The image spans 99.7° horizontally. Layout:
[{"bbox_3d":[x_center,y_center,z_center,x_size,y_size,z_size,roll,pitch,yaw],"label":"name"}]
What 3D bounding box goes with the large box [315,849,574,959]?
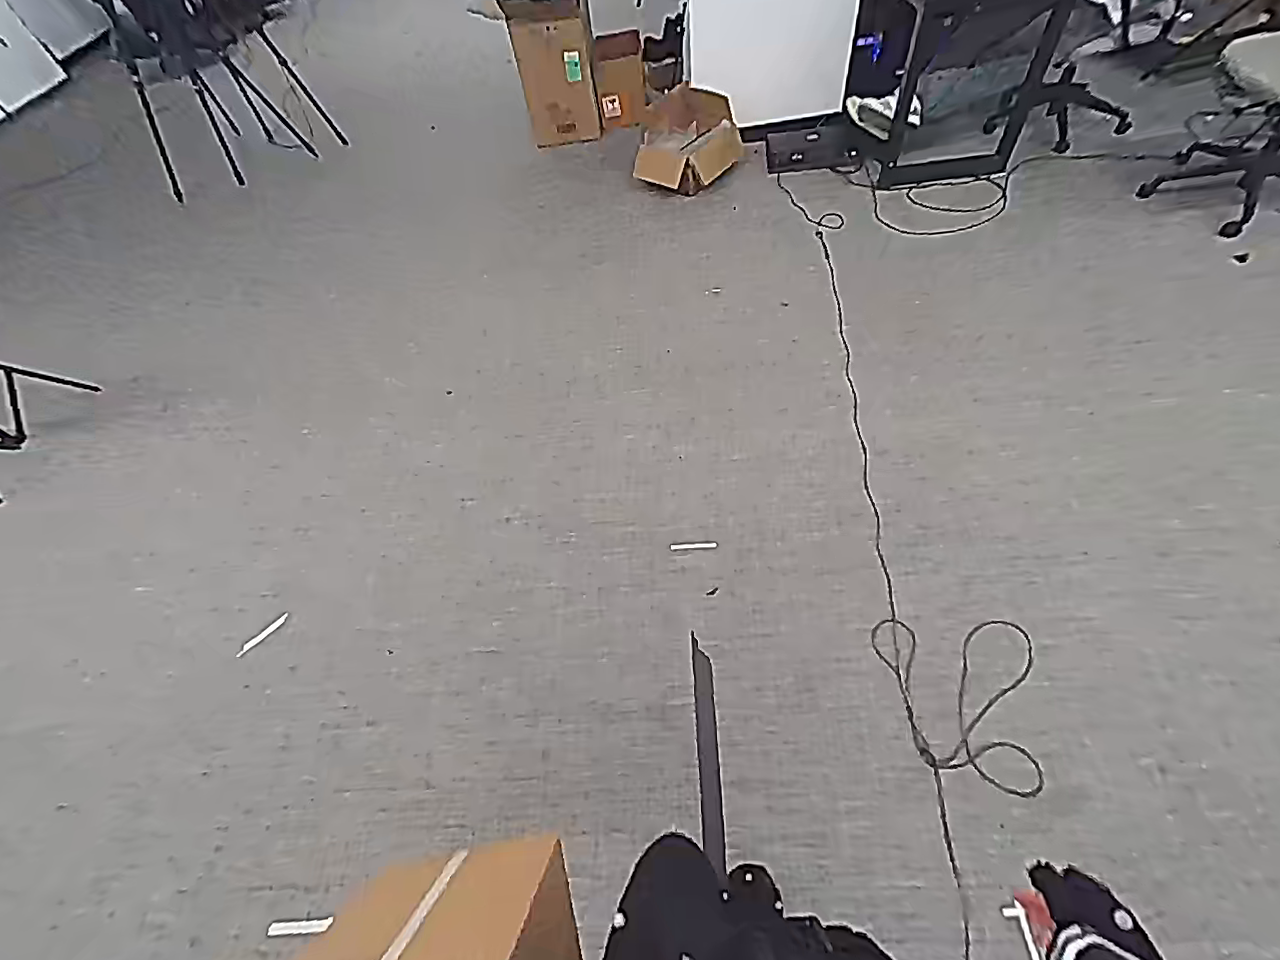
[{"bbox_3d":[-0.262,0.754,0.673,0.320,0.408,0.320,-14,82,2],"label":"large box"}]
